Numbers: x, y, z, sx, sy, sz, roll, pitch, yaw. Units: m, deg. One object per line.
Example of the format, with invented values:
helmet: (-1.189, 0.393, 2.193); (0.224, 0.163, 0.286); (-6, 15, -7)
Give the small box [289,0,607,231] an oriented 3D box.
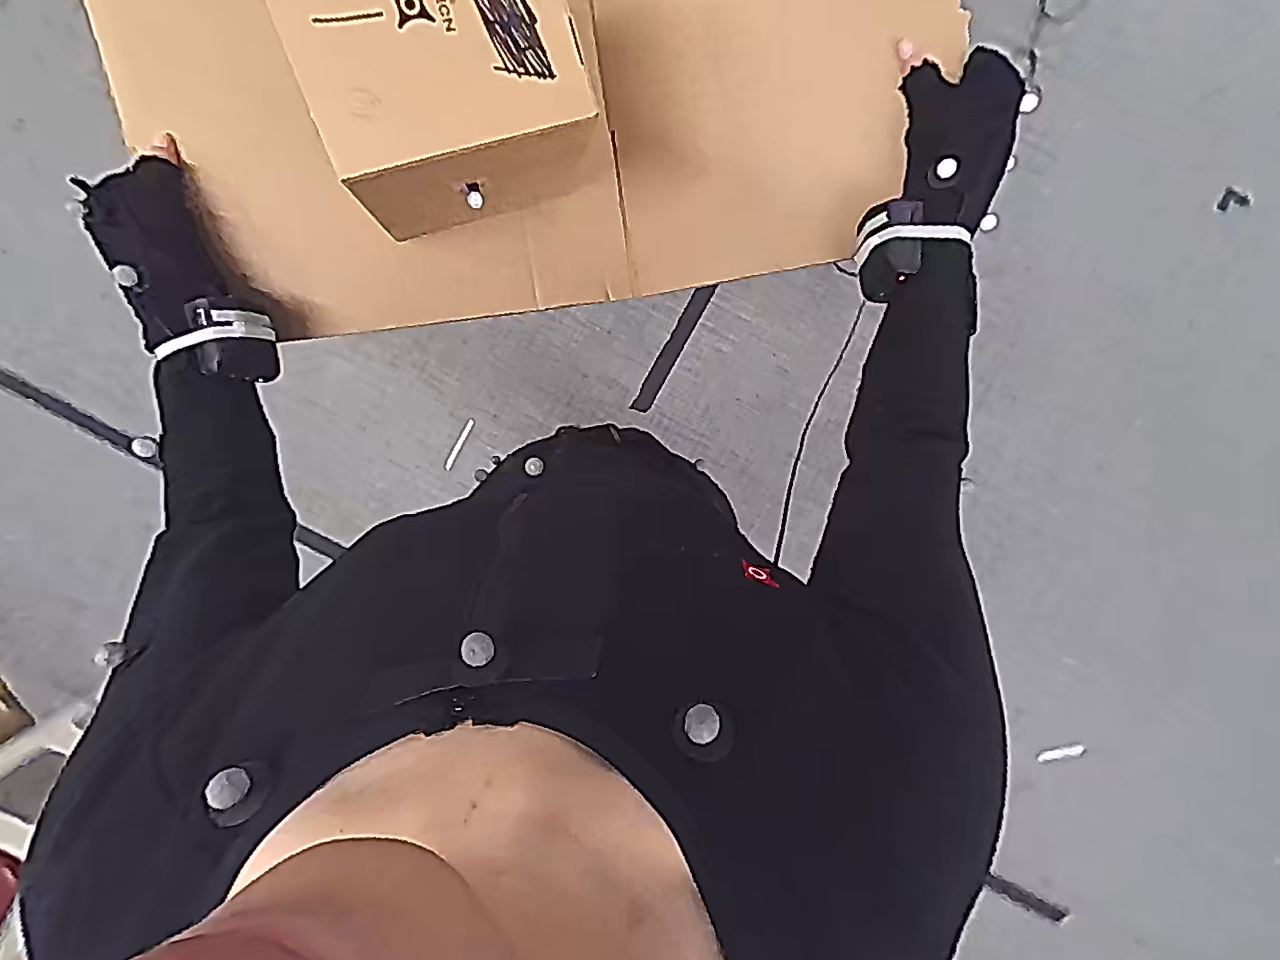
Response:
small box: (-0.142, -0.312, 0.416); (0.179, 0.176, 0.168); (-19, 105, -8)
